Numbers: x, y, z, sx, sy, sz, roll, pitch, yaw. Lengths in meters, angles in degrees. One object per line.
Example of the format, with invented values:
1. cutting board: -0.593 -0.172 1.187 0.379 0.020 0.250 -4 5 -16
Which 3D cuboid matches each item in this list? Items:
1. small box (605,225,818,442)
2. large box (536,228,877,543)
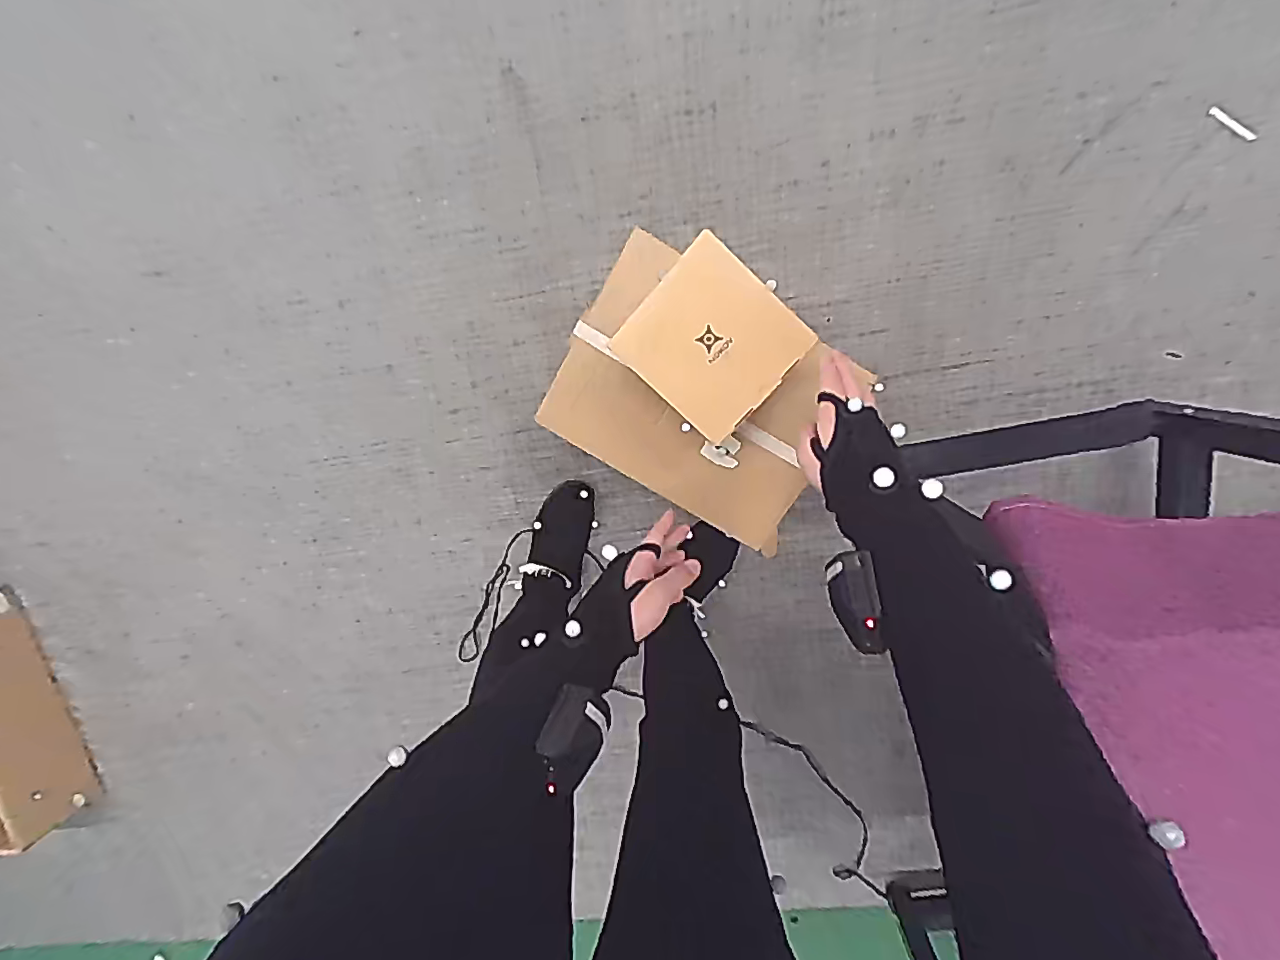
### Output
1. small box: 0.079 -0.172 0.666 0.179 0.176 0.168 41 102 -7
2. large box: 0.095 -0.160 0.921 0.408 0.320 0.320 30 106 -5
